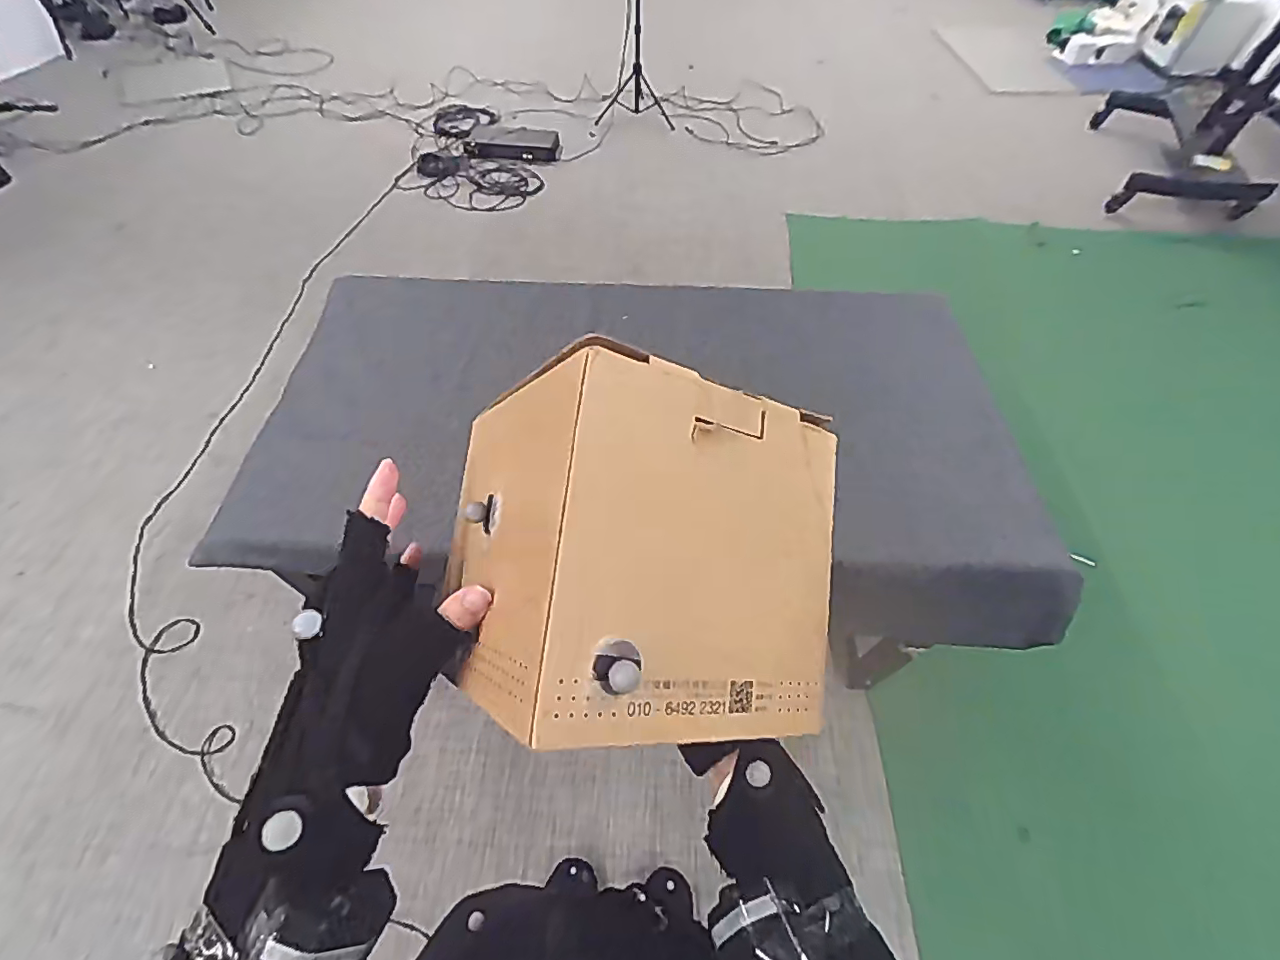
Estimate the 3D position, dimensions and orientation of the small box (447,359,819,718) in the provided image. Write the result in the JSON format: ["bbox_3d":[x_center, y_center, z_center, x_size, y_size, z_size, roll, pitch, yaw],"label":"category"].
[{"bbox_3d":[-0.011,0.046,0.346,0.168,0.179,0.176,14,77,-31],"label":"small box"}]
